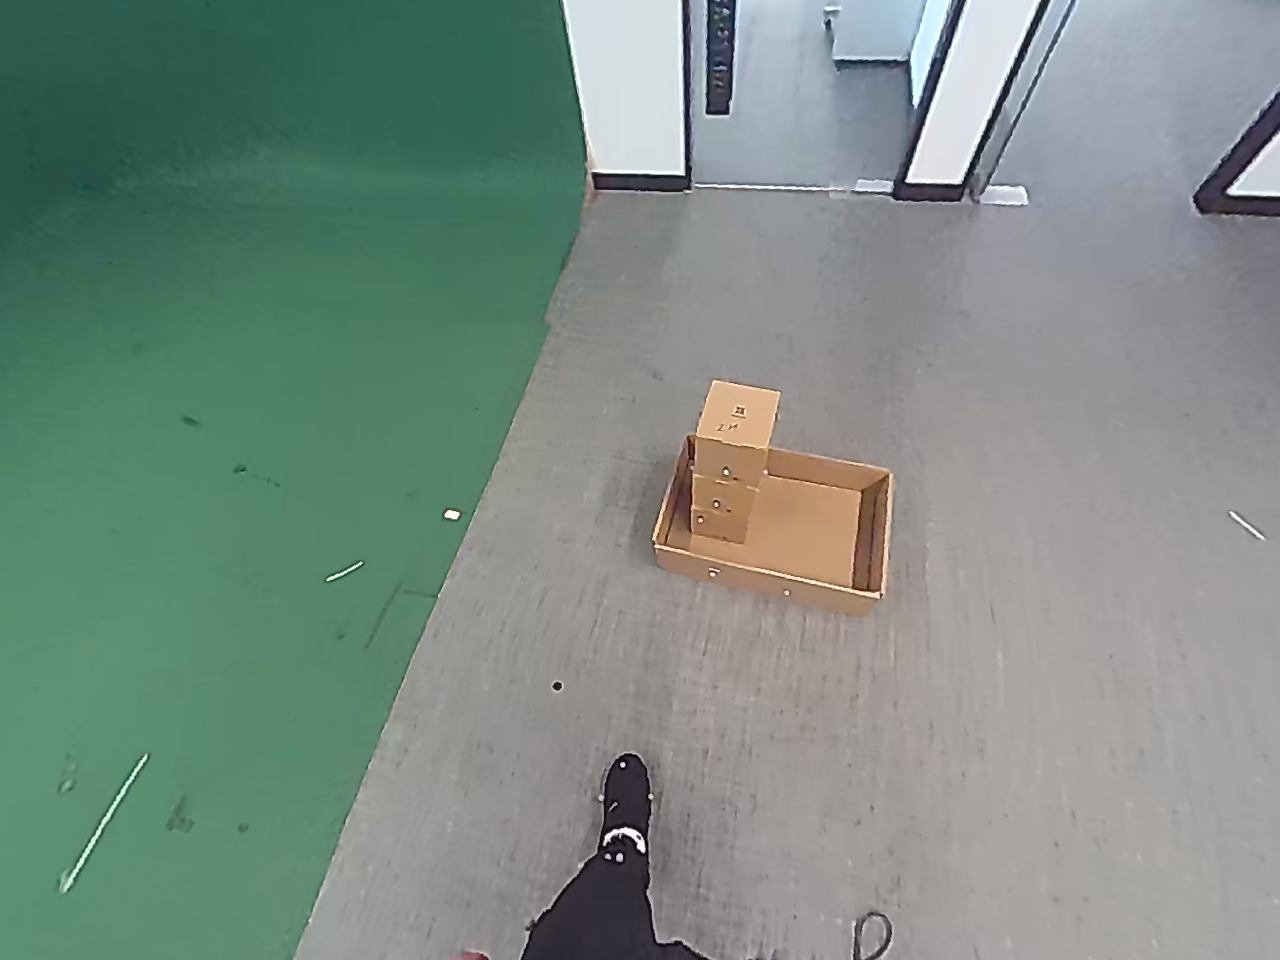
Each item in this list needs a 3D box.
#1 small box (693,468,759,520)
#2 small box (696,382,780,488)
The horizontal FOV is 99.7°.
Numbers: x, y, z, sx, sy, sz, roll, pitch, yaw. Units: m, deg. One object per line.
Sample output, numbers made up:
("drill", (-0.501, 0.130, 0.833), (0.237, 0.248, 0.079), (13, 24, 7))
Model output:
("small box", (0.241, -0.018, 1.456), (0.168, 0.176, 0.179), (12, 61, 12))
("small box", (0.233, -0.107, 1.318), (0.168, 0.176, 0.179), (12, 61, 13))
